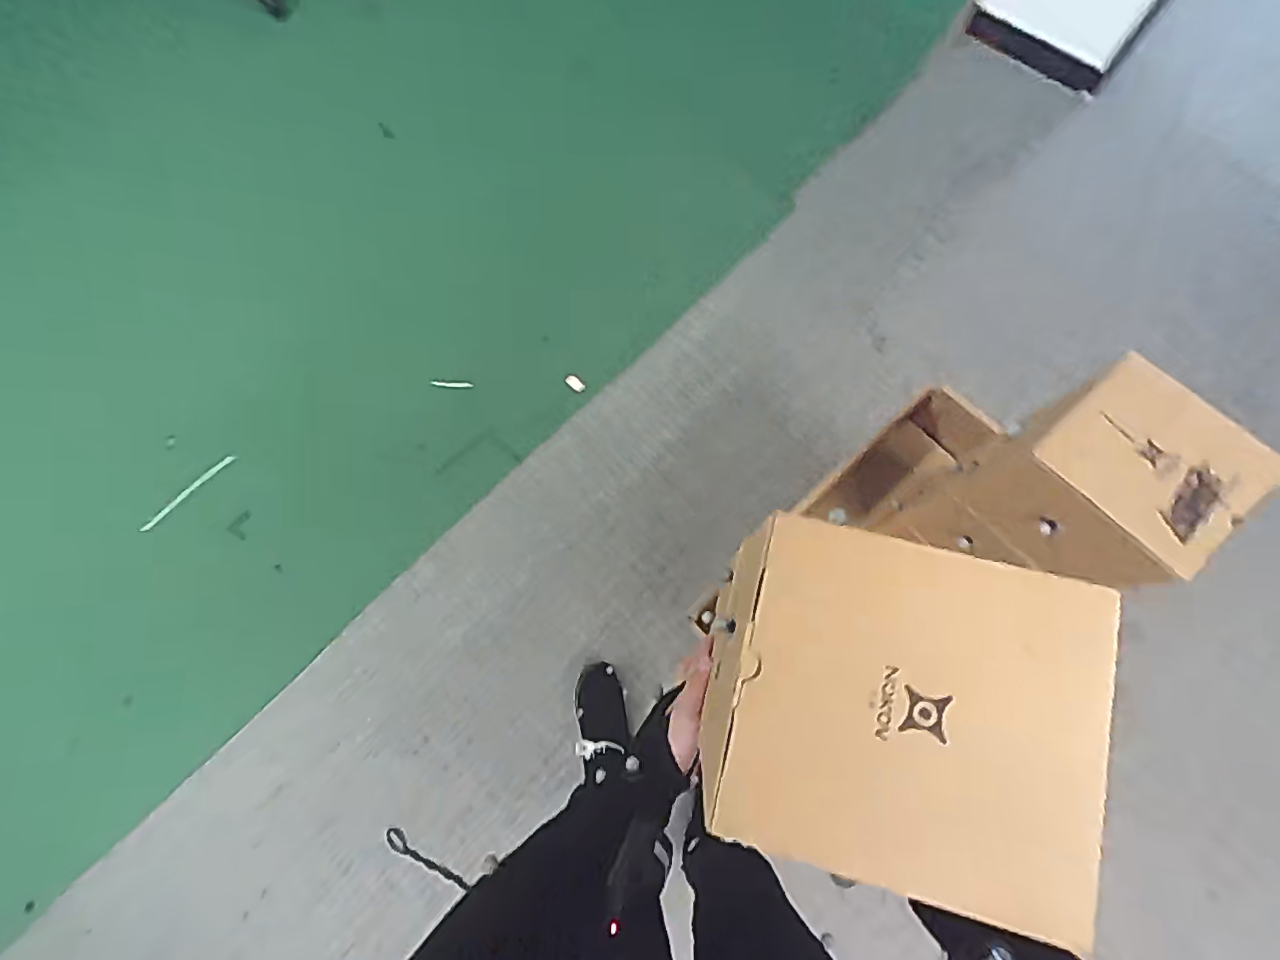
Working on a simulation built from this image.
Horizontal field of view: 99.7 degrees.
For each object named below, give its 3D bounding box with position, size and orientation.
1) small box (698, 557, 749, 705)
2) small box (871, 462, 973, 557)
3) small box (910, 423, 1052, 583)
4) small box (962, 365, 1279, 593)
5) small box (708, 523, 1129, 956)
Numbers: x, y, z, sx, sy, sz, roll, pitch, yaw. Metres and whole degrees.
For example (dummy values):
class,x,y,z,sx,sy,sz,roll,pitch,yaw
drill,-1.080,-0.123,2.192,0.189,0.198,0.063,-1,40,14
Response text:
class,x,y,z,sx,sy,sz,roll,pitch,yaw
small box,0.175,0.200,0.660,0.179,0.176,0.168,14,78,8
small box,0.535,0.103,0.928,0.168,0.176,0.179,-38,76,-7
small box,0.529,0.056,0.771,0.168,0.176,0.179,-40,75,-7
small box,0.521,0.011,0.612,0.168,0.176,0.179,-40,75,-8
small box,0.146,0.133,0.342,0.179,0.176,0.168,12,79,8
